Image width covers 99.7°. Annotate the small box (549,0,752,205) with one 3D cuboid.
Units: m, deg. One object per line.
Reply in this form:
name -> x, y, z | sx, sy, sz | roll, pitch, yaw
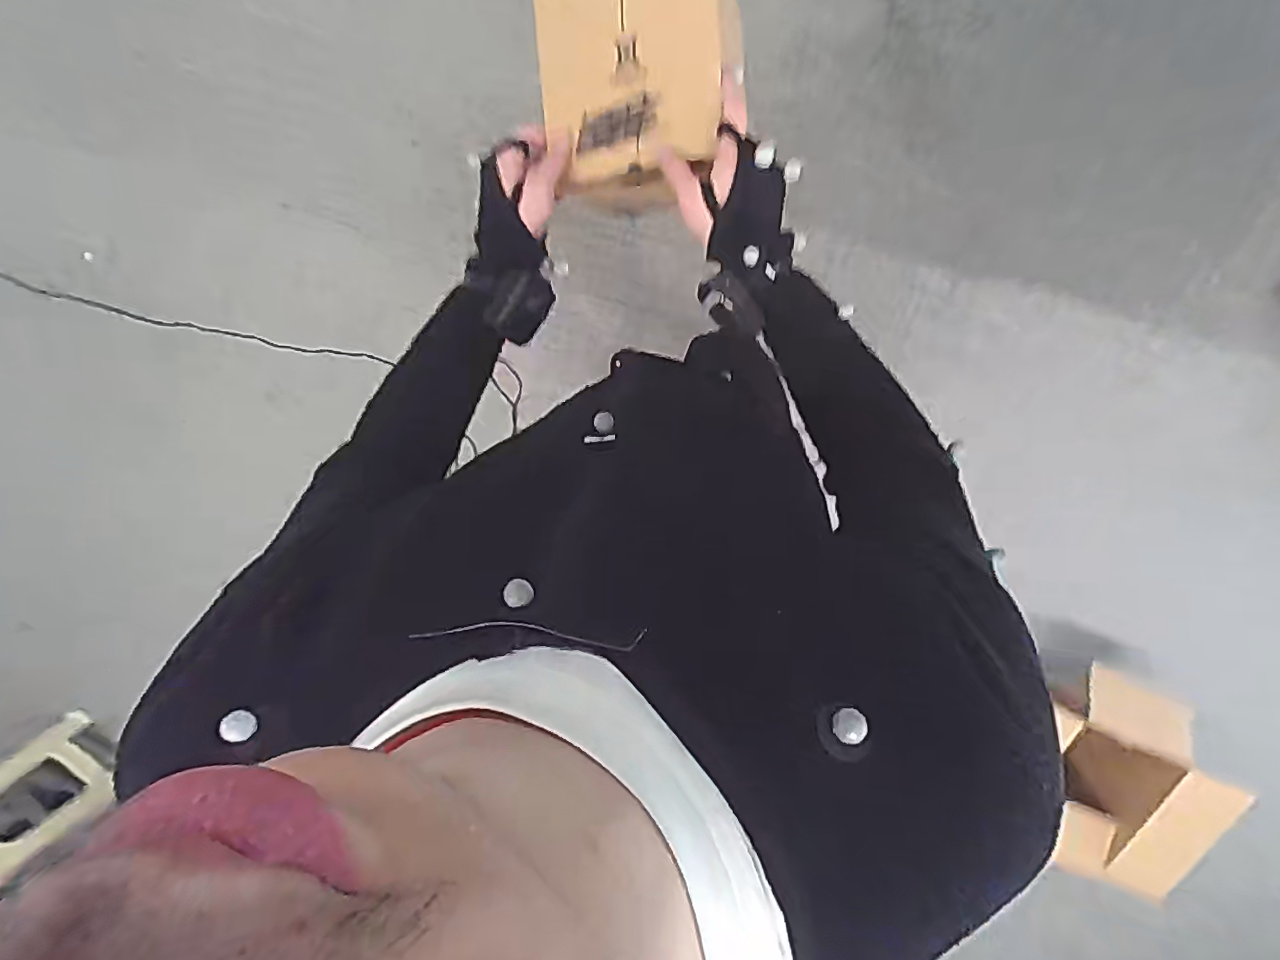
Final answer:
small box -> 0.024, -0.395, 0.554 | 0.168, 0.176, 0.179 | 0, 106, 17
